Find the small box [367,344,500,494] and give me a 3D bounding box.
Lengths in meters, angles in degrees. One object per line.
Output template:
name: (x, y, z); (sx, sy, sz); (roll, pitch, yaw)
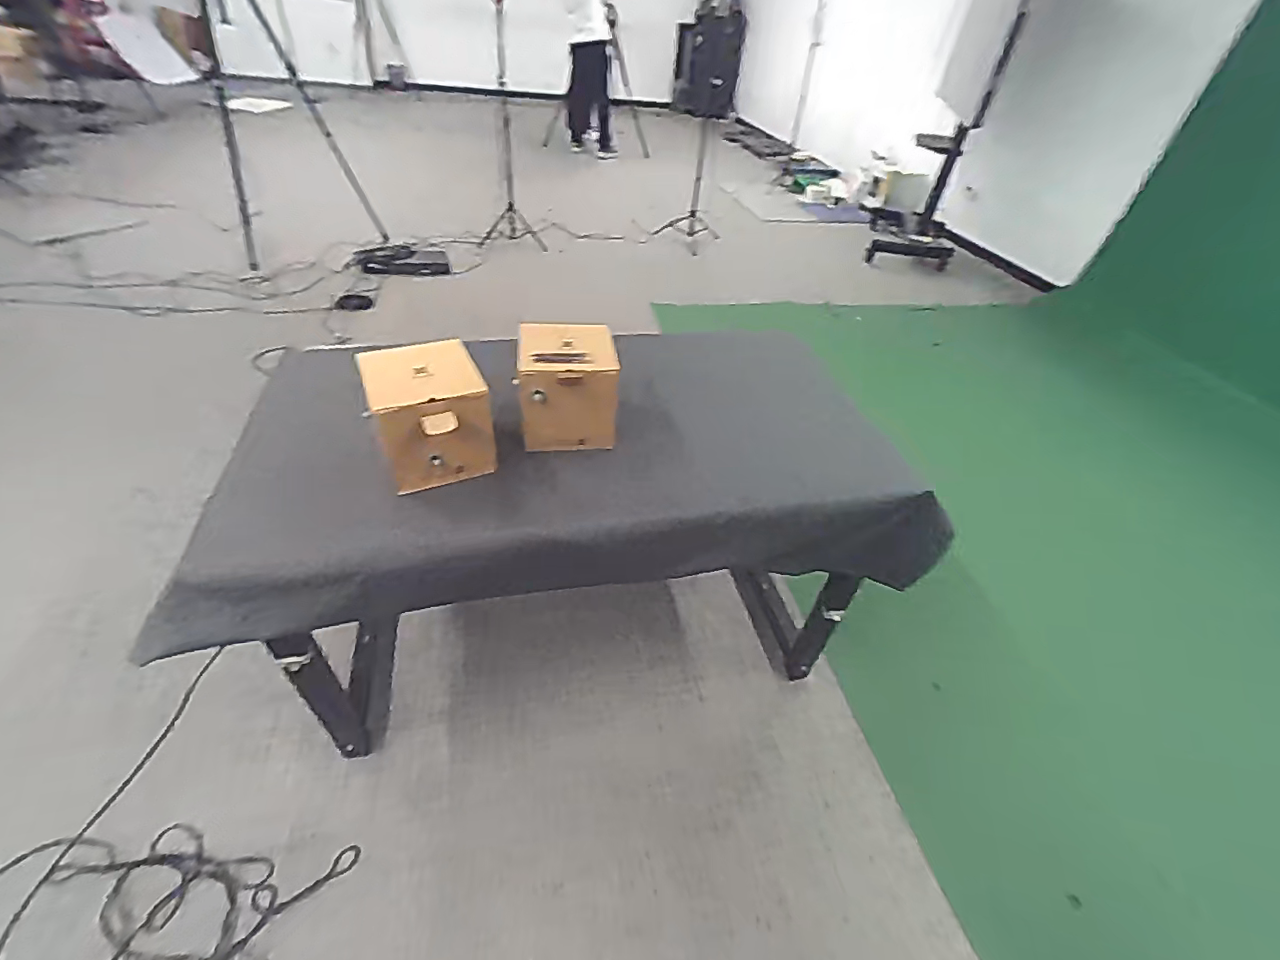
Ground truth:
small box: (-0.342, -0.104, 0.905); (0.168, 0.176, 0.179); (-16, 46, -24)
